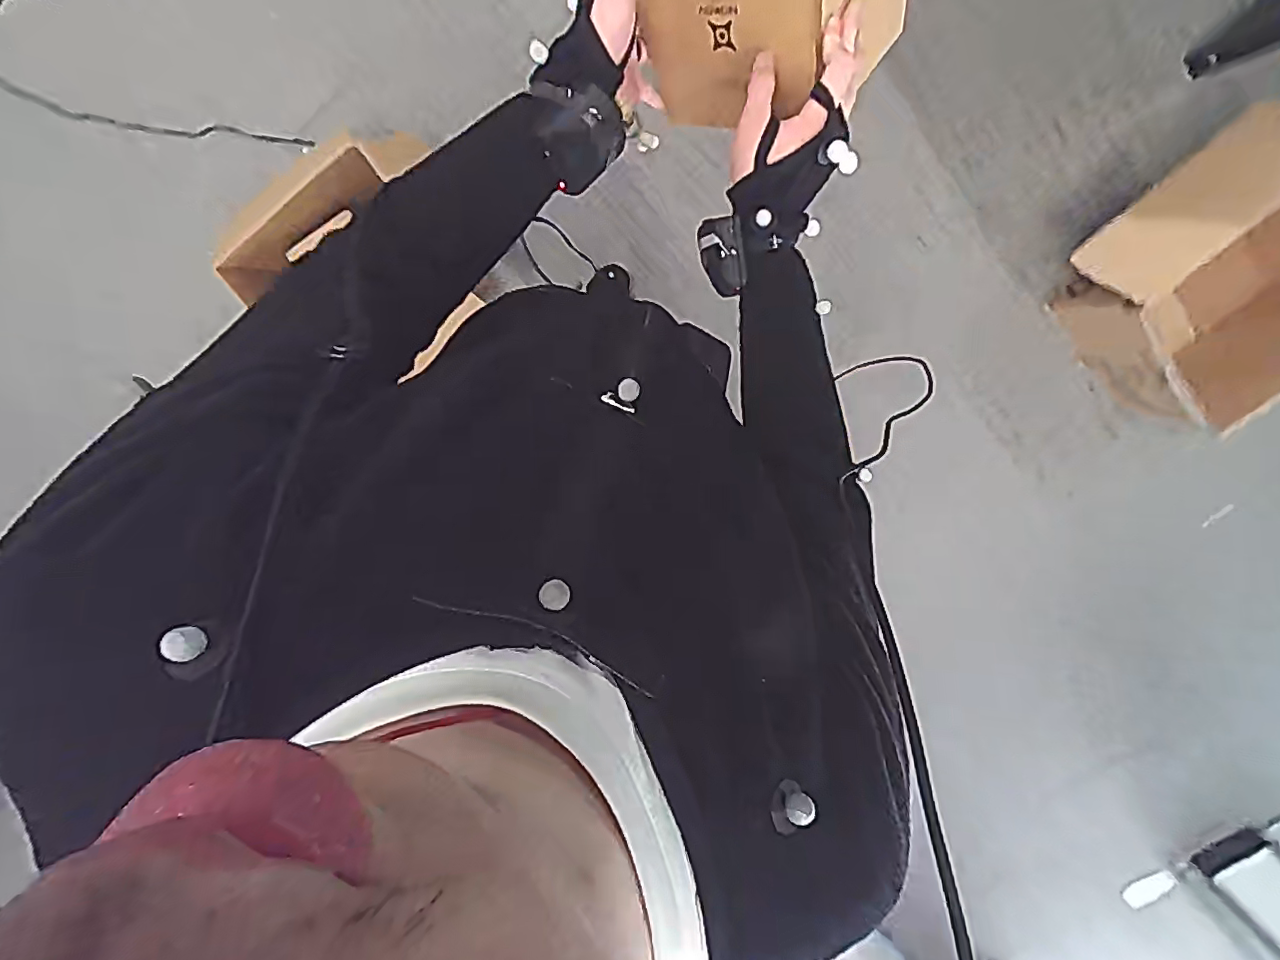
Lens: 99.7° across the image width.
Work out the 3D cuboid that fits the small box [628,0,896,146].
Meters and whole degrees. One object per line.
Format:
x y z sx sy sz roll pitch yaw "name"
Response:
0.106 -0.421 0.453 0.168 0.179 0.176 25 72 30 "small box"
